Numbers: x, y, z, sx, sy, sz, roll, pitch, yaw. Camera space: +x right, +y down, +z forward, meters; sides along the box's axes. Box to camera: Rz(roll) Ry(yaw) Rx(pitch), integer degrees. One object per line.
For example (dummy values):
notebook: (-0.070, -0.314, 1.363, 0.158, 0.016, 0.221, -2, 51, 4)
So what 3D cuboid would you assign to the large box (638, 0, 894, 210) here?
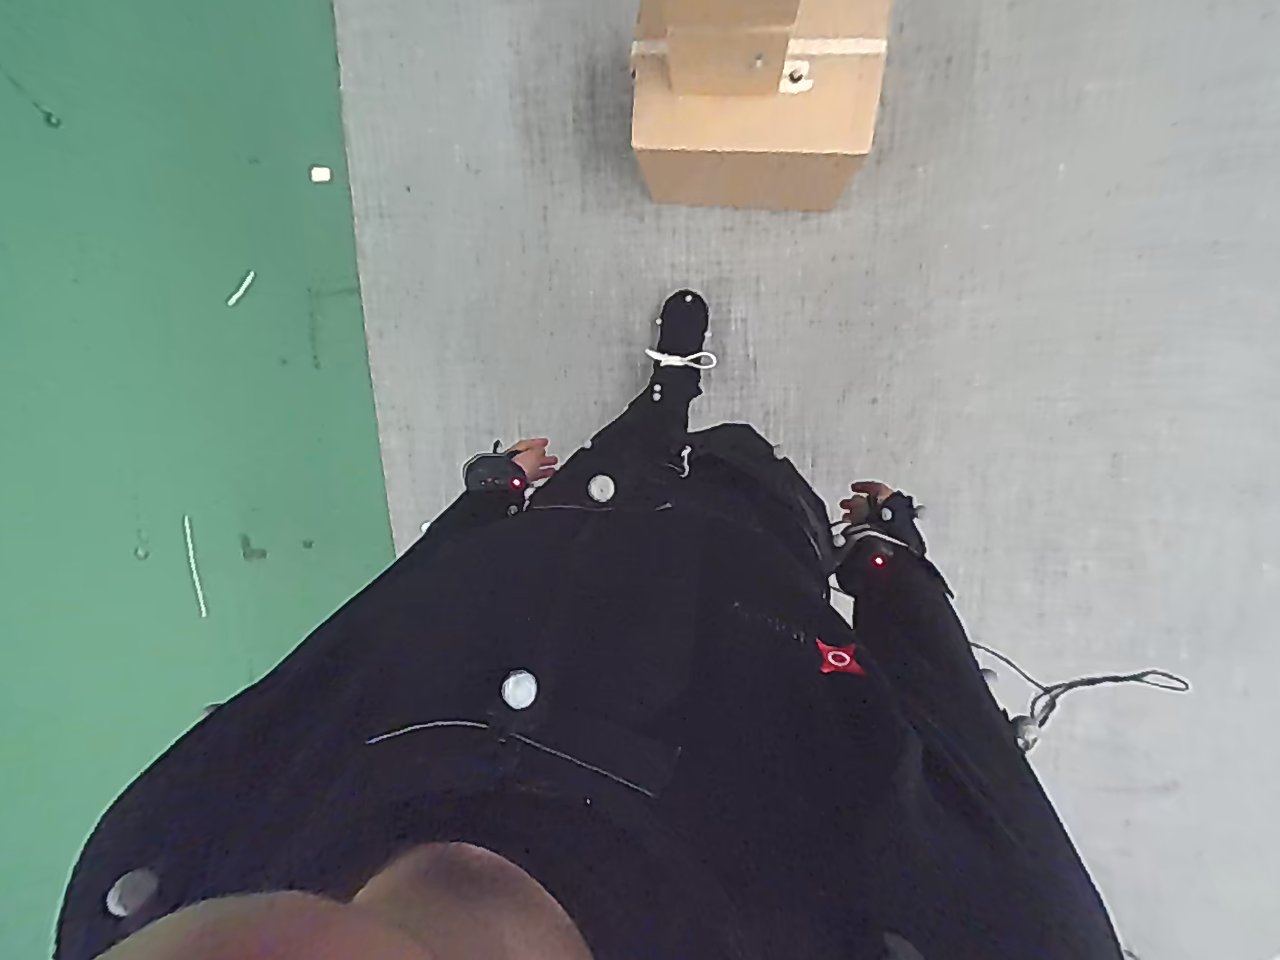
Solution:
large box: (0.218, -0.728, 1.034, 0.408, 0.320, 0.320, 5, 102, 7)

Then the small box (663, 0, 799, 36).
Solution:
small box: (0.115, -0.672, 0.641, 0.179, 0.176, 0.168, 3, 99, 9)
